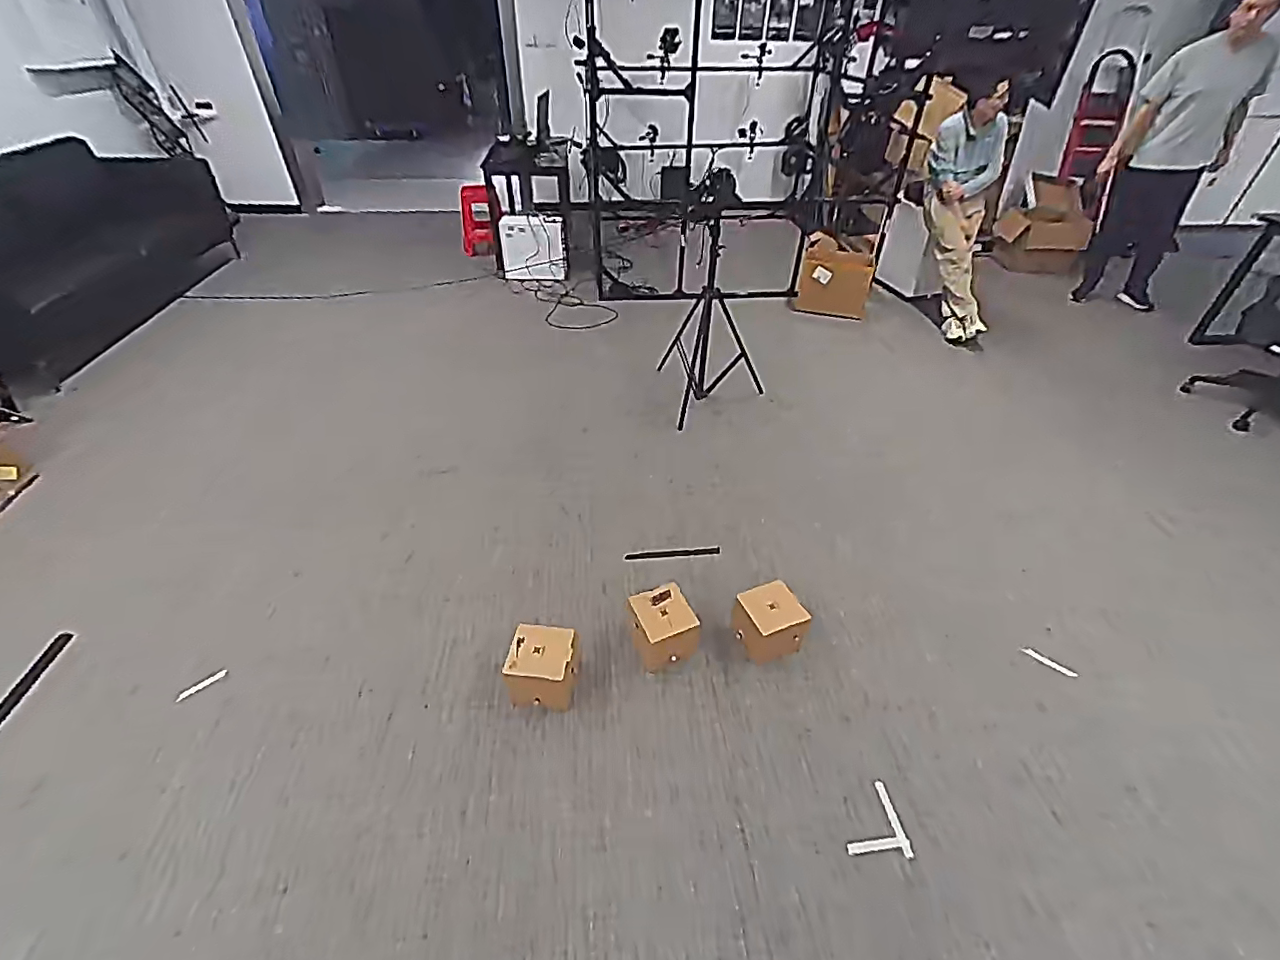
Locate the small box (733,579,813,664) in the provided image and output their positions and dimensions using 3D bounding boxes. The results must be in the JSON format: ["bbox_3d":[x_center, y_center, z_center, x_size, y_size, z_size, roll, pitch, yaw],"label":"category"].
[{"bbox_3d":[0.414,0.451,1.719,0.179,0.176,0.168,-16,42,-18],"label":"small box"}]

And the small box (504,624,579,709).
[{"bbox_3d":[-0.280,0.551,1.591,0.179,0.176,0.168,5,40,6],"label":"small box"}]

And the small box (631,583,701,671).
[{"bbox_3d":[0.074,0.462,1.698,0.168,0.176,0.179,-16,43,-18],"label":"small box"}]
